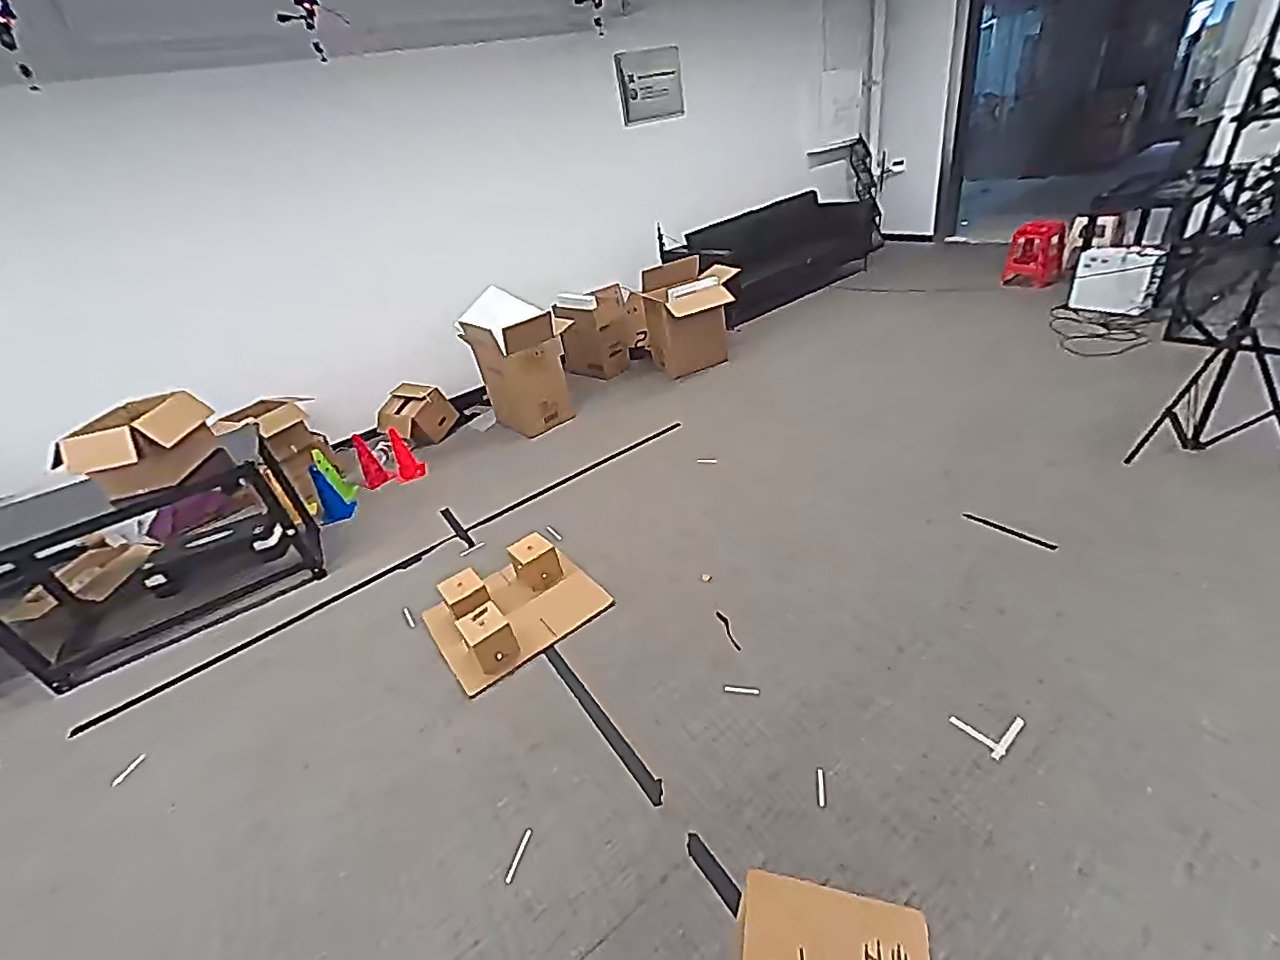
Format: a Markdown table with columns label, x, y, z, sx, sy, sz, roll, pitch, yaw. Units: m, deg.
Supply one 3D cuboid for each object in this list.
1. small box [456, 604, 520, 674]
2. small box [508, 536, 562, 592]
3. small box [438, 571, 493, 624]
| label | x | y | z | sx | sy | sz | roll | pitch | yaw |
| --- | --- | --- | --- | --- | --- | --- | --- | --- | --- |
| small box | -0.613 | 0.646 | 2.188 | 0.168 | 0.176 | 0.179 | -31 | 37 | -27 |
| small box | -0.496 | 0.398 | 2.556 | 0.168 | 0.176 | 0.179 | -32 | 37 | -29 |
| small box | -0.768 | 0.542 | 2.404 | 0.168 | 0.176 | 0.179 | -30 | 36 | -26 |
